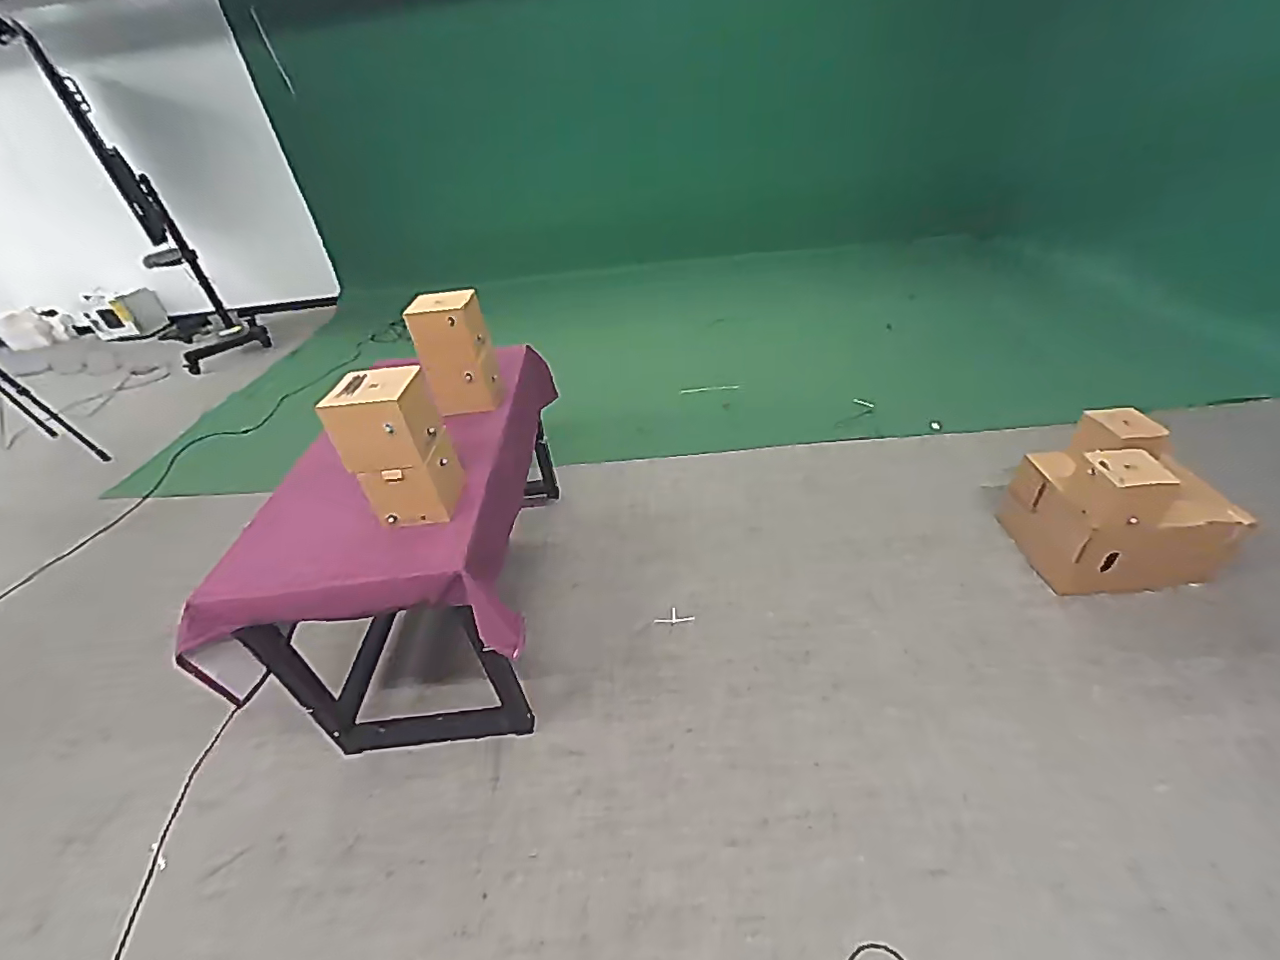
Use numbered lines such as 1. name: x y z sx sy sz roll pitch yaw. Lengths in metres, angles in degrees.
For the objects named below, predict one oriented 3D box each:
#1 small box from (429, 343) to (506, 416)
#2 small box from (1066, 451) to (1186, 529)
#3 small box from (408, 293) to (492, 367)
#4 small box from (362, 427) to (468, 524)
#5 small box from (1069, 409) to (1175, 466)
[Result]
1. small box: -0.543 -0.322 1.737 0.179 0.176 0.168 -6 37 4
2. small box: 1.426 0.032 1.602 0.179 0.176 0.168 -3 38 4
3. small box: -0.569 -0.454 1.643 0.179 0.176 0.168 -4 37 3
4. small box: -0.537 -0.006 1.320 0.168 0.176 0.179 -6 36 3
5. small box: 1.575 -0.115 1.779 0.168 0.176 0.179 -4 36 1
